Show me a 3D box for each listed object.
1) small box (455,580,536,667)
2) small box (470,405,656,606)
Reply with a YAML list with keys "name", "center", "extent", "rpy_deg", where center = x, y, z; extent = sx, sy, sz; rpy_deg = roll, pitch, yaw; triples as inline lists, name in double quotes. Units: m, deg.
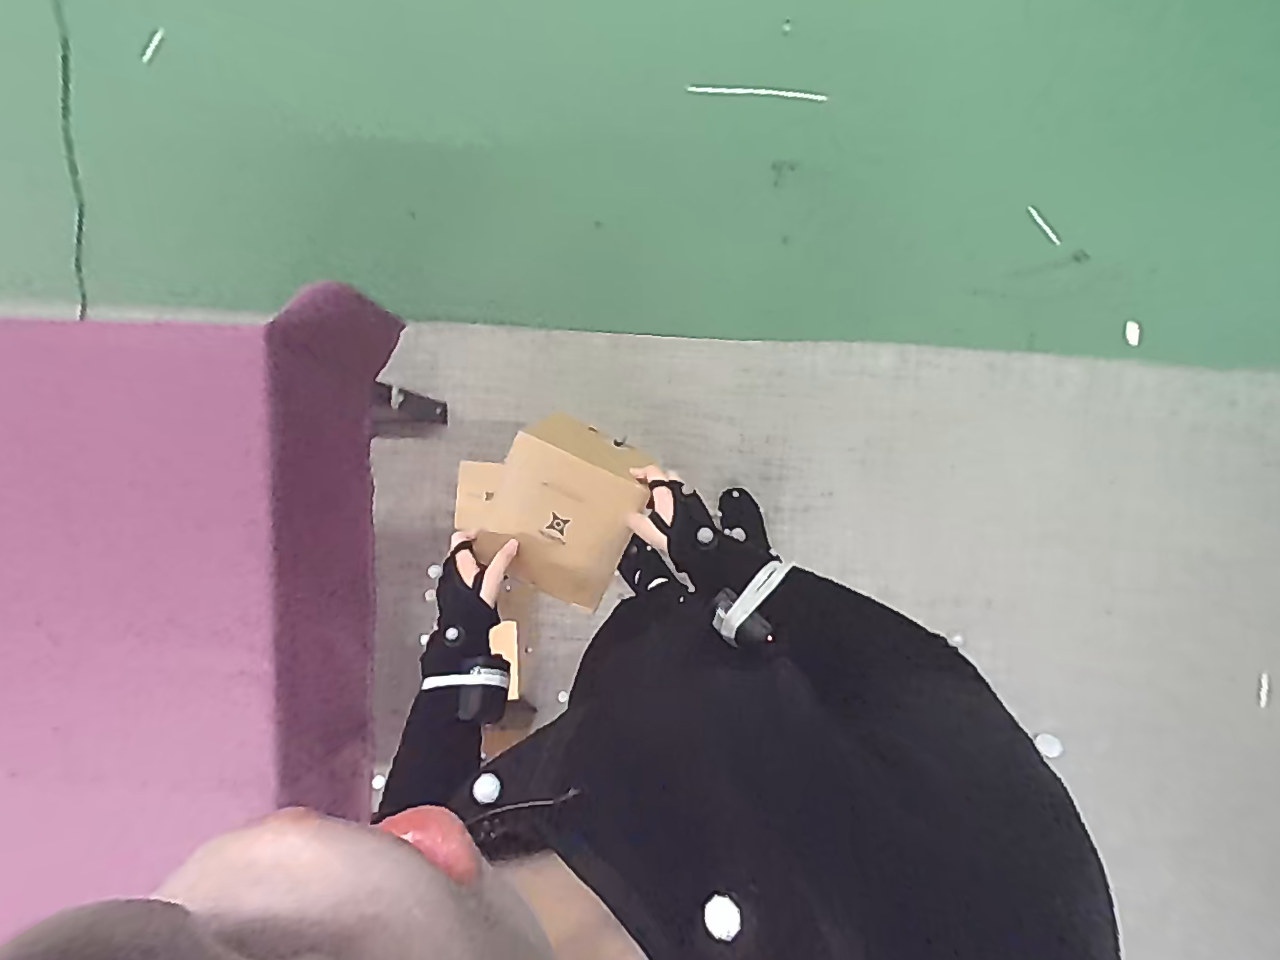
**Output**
- name: "small box"
  center: [-0.362, 0.361, 1.380]
  extent: [0.168, 0.176, 0.179]
  rpy_deg: [1, 91, -1]
- name: "small box"
  center: [-0.088, 0.023, 0.703]
  extent: [0.168, 0.176, 0.179]
  rpy_deg: [26, 108, -1]
